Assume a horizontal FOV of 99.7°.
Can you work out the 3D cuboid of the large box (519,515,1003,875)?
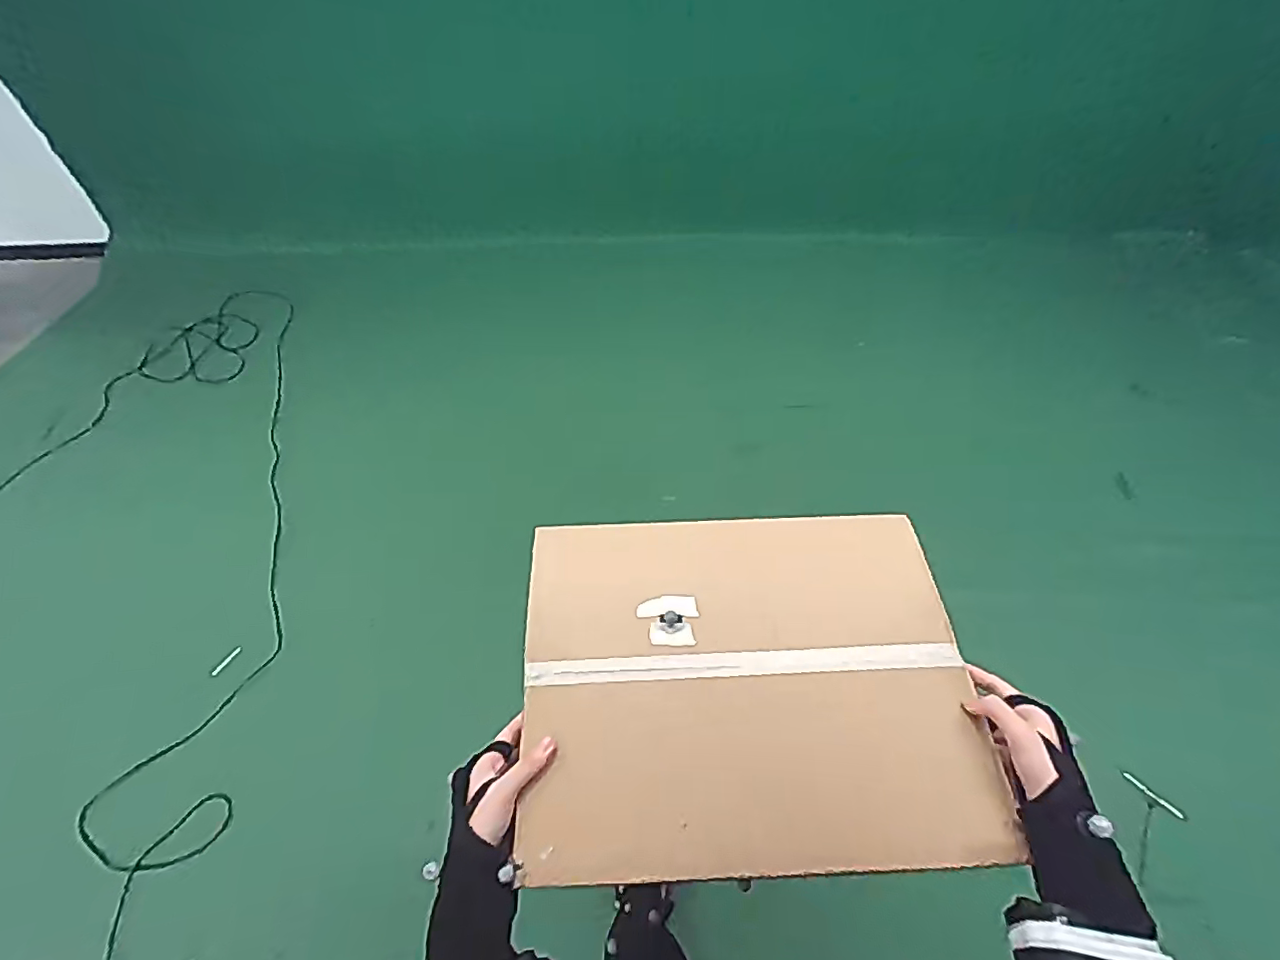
[{"bbox_3d":[0.097,0.257,0.641,0.408,0.320,0.320,-2,56,0],"label":"large box"}]
